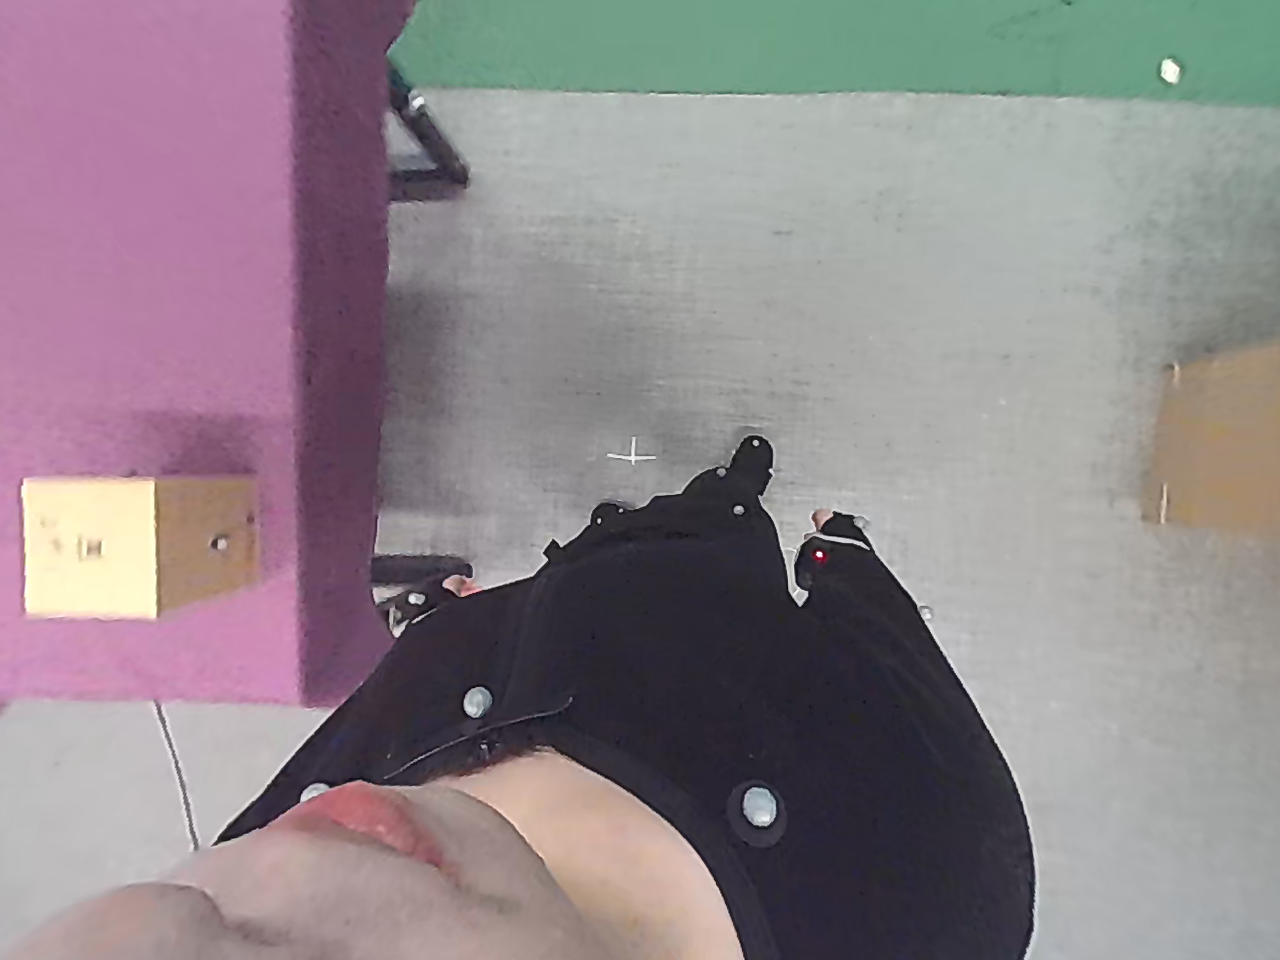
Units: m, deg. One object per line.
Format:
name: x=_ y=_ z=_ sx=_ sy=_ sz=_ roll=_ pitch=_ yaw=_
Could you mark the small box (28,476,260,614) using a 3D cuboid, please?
small box: x=-0.659 y=0.079 z=0.740 sx=0.179 sy=0.176 sz=0.168 roll=0 pitch=91 yaw=5
